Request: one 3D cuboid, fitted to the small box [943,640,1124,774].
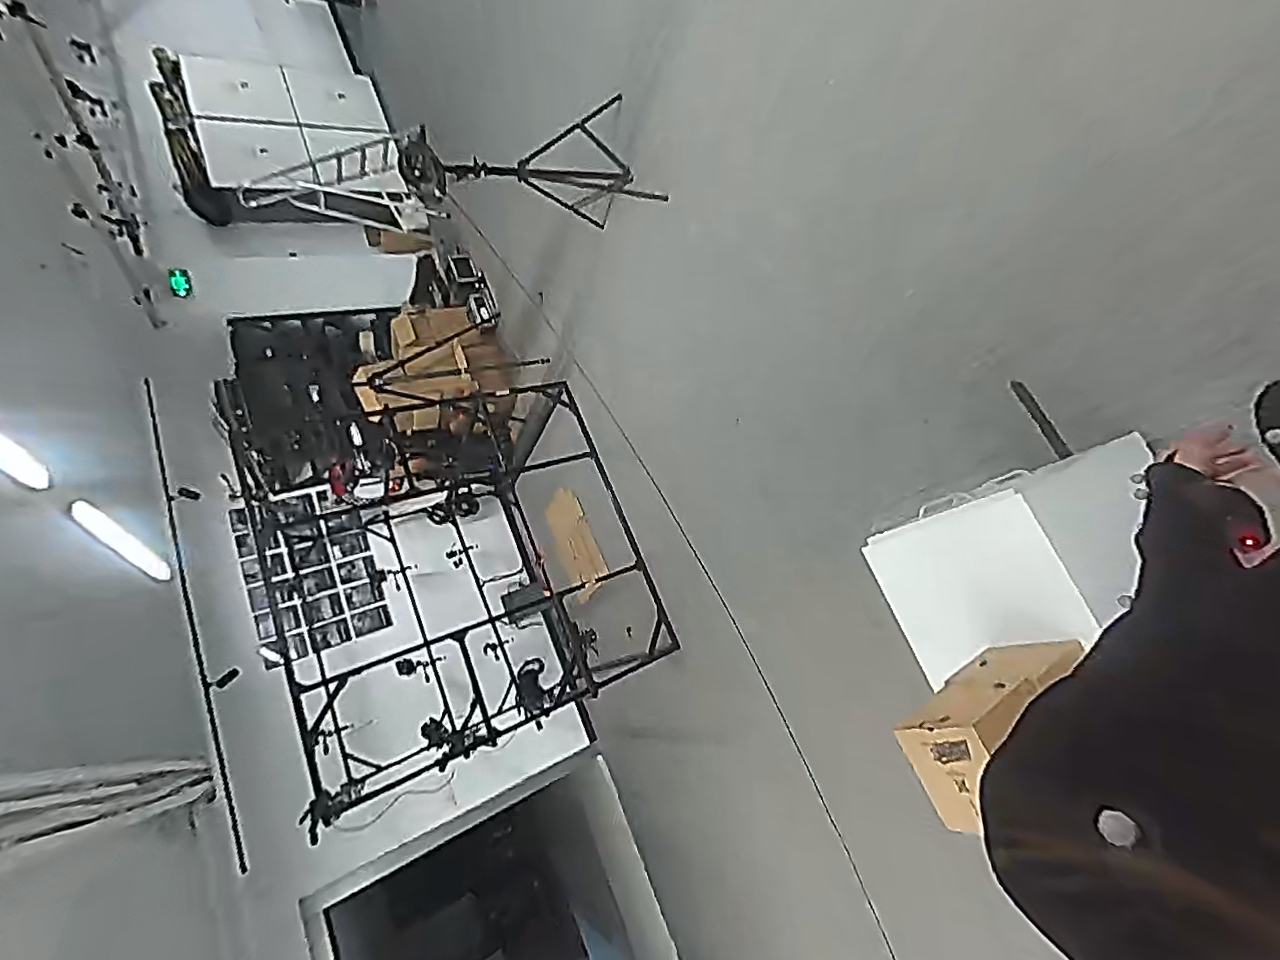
[{"bbox_3d":[0.702,0.402,0.972,0.179,0.176,0.168,-41,69,59],"label":"small box"}]

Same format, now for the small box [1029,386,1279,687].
[{"bbox_3d":[0.498,0.035,0.481,0.176,0.179,0.168,34,114,6],"label":"small box"}]

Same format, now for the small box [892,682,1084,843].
[{"bbox_3d":[0.568,0.449,0.890,0.179,0.176,0.168,63,150,14],"label":"small box"}]
